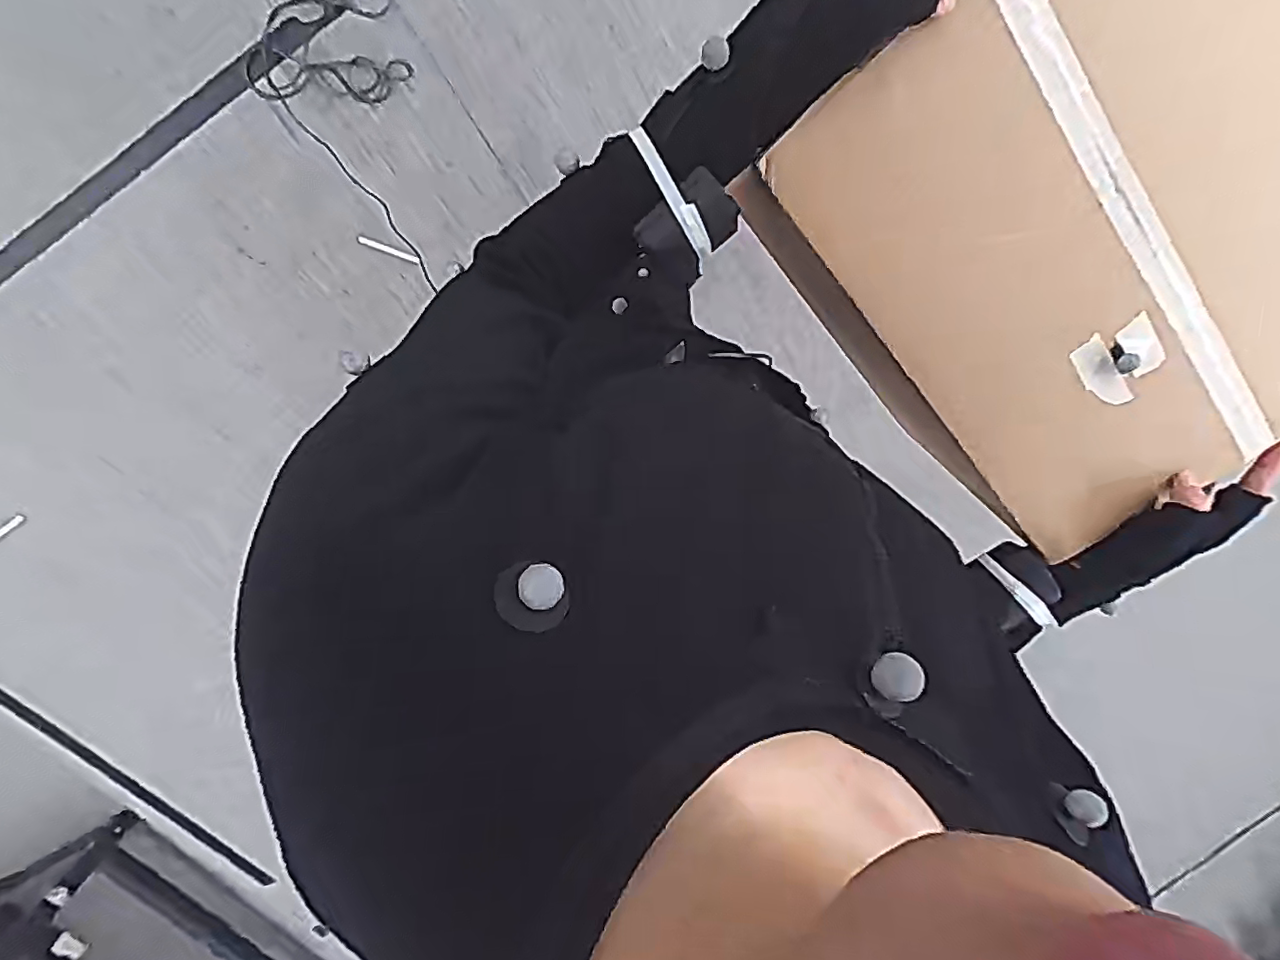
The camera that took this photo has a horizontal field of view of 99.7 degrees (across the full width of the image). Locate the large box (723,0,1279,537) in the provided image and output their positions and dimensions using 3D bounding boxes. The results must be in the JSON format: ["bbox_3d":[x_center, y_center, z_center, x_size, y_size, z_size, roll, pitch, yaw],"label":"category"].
[{"bbox_3d":[0.327,-0.236,0.494,0.320,0.320,0.408,-38,108,21],"label":"large box"}]
